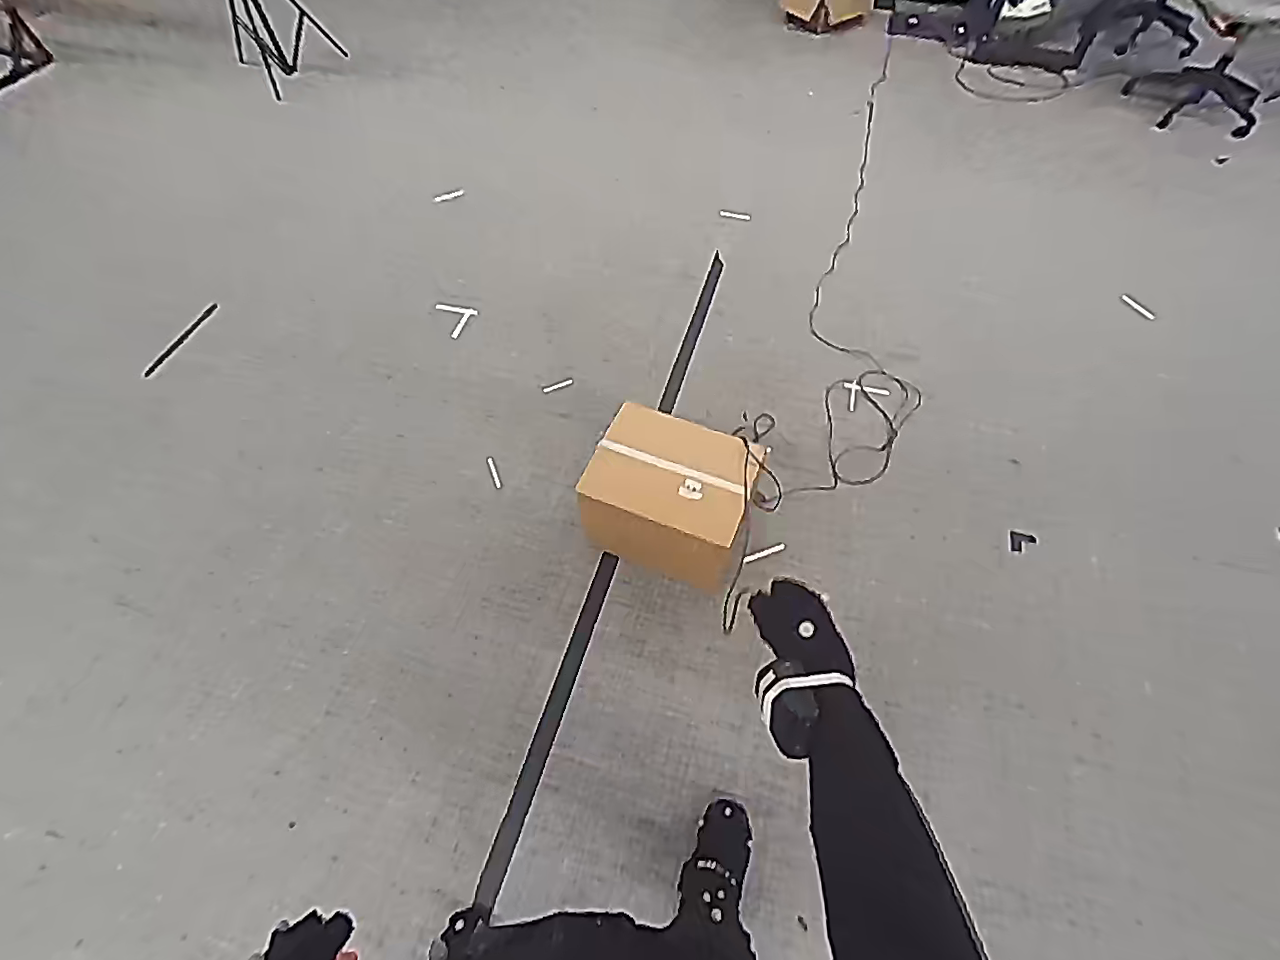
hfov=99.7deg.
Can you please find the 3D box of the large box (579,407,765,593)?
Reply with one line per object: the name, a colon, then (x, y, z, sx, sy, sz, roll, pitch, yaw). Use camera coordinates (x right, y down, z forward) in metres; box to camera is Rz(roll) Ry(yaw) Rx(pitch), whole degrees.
large box: (0.083, 0.058, 1.495, 0.408, 0.320, 0.320, 21, 60, 12)
